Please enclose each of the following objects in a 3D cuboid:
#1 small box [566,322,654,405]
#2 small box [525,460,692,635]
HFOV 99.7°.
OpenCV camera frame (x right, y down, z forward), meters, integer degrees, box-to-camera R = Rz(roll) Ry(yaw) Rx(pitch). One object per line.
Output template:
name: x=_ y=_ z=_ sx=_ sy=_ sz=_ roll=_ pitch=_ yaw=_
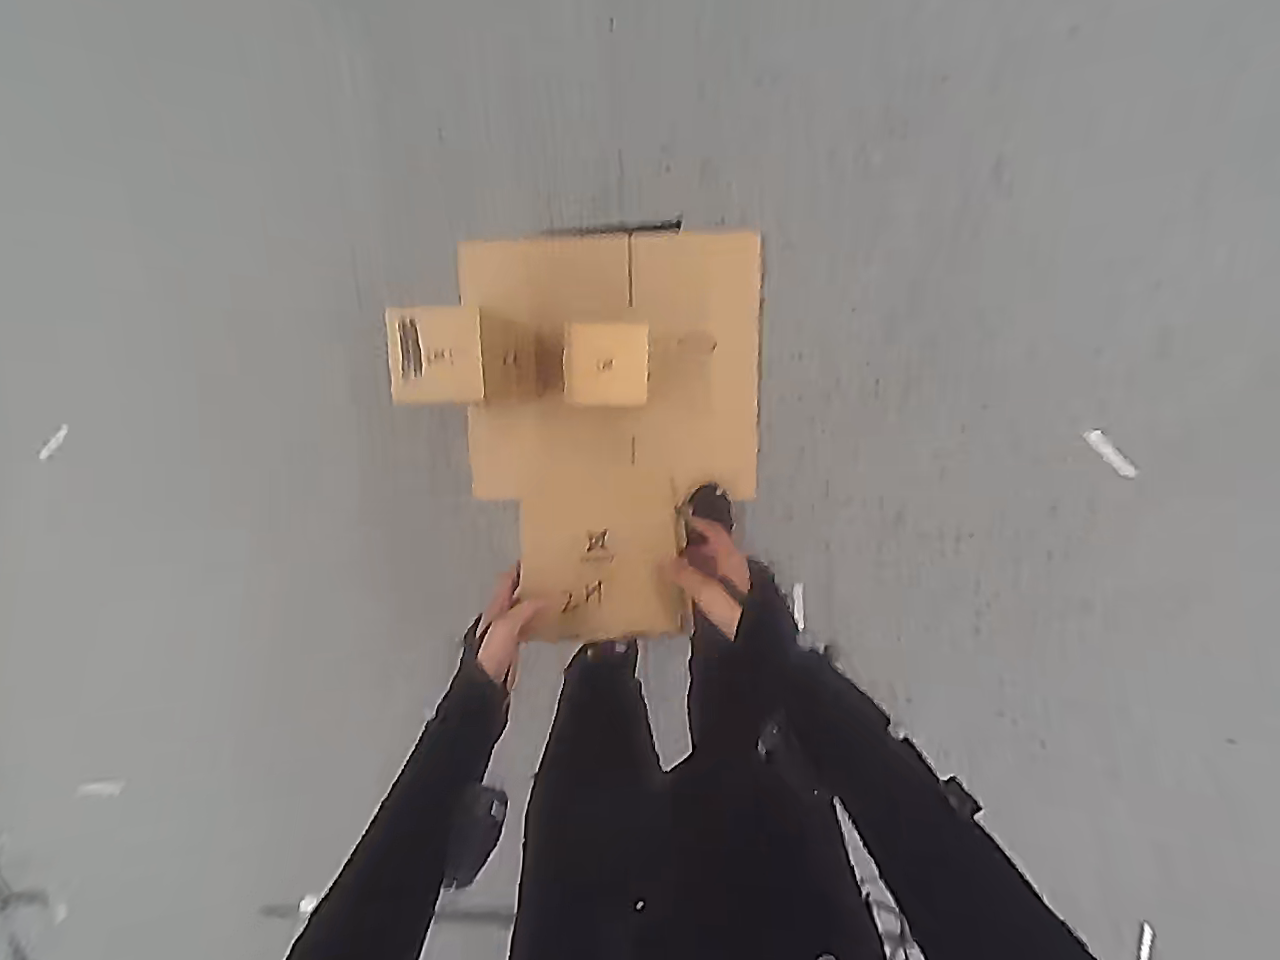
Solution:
small box: x=-0.061 y=-0.252 z=1.183 sx=0.179 sy=0.176 sz=0.168 roll=2 pitch=100 yaw=4
small box: x=-0.029 y=0.090 z=0.644 sx=0.168 sy=0.176 sz=0.179 roll=-5 pitch=73 yaw=8
